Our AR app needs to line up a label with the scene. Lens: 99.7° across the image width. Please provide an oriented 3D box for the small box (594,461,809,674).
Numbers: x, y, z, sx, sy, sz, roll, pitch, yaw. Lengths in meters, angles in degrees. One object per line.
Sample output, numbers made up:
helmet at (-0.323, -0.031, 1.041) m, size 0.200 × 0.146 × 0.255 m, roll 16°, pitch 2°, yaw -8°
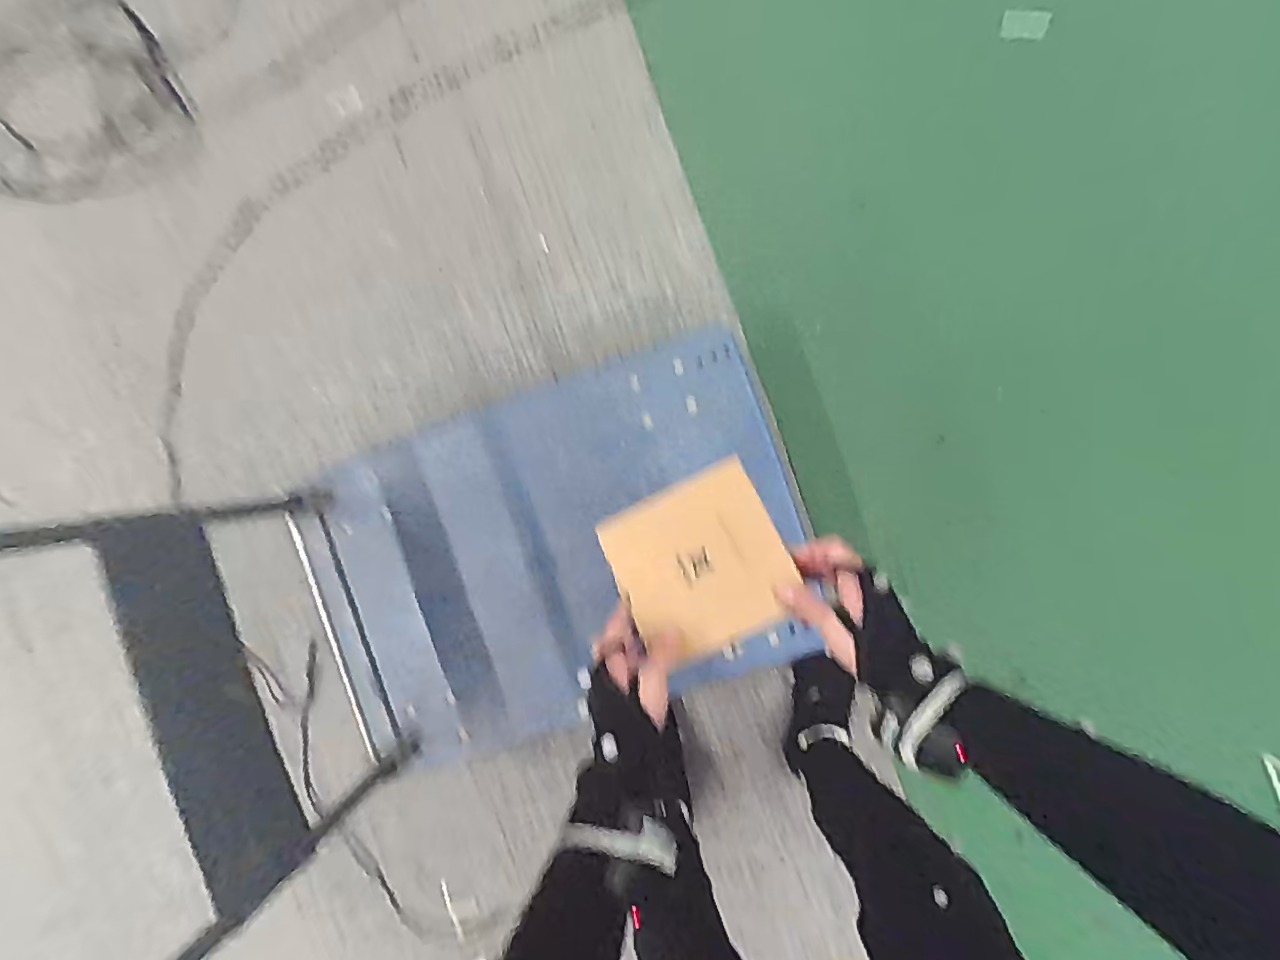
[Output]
small box at (0.077, 0.104, 0.622) m, size 0.179 × 0.176 × 0.168 m, roll -27°, pitch 73°, yaw 8°
